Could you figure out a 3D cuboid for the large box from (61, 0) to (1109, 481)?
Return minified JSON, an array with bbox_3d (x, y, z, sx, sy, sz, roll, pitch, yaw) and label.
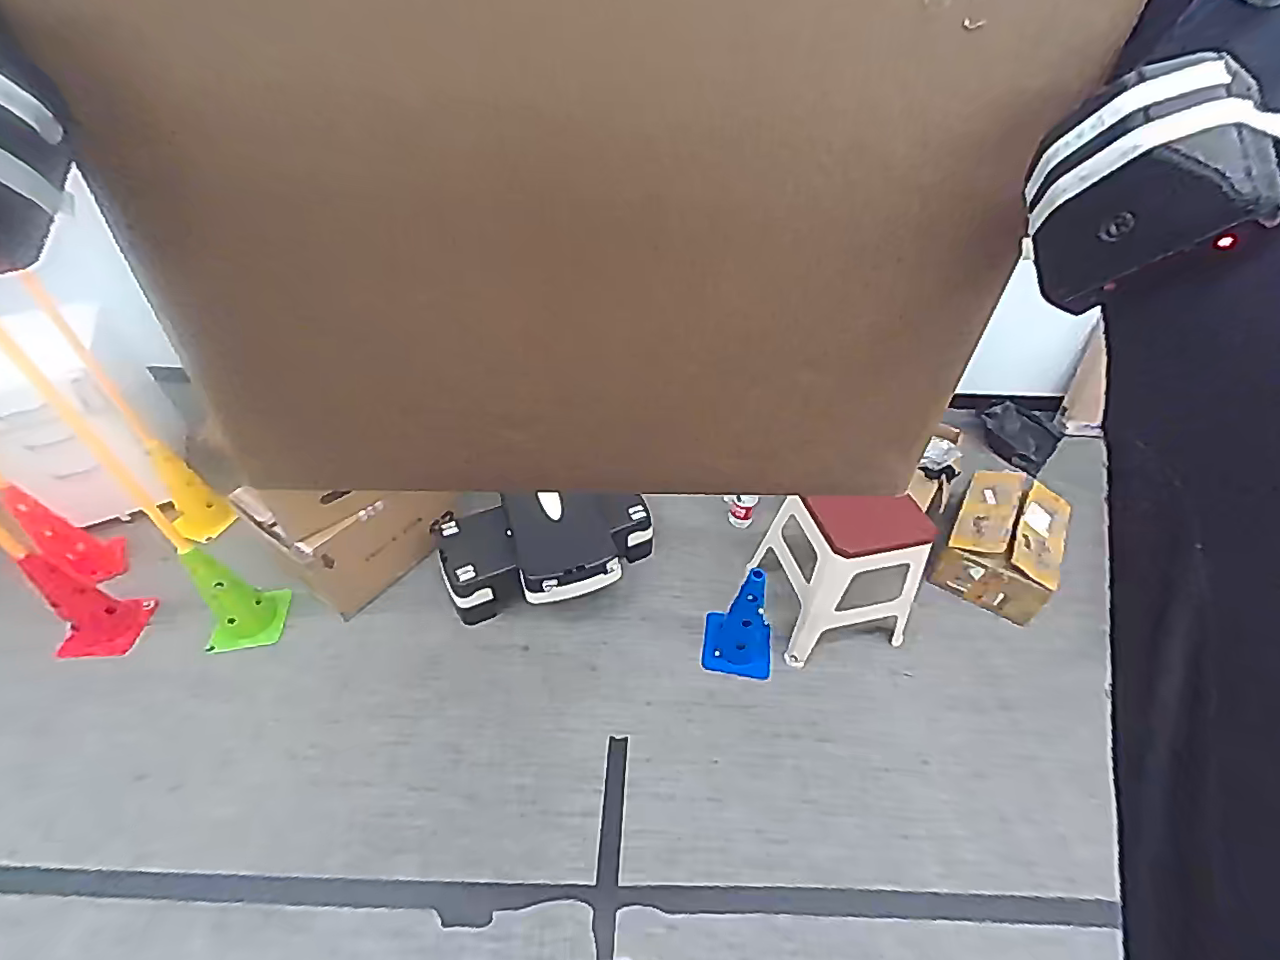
[{"bbox_3d":[-0.028,-0.209,0.366,0.408,0.320,0.320,1,40,-6],"label":"large box"}]
